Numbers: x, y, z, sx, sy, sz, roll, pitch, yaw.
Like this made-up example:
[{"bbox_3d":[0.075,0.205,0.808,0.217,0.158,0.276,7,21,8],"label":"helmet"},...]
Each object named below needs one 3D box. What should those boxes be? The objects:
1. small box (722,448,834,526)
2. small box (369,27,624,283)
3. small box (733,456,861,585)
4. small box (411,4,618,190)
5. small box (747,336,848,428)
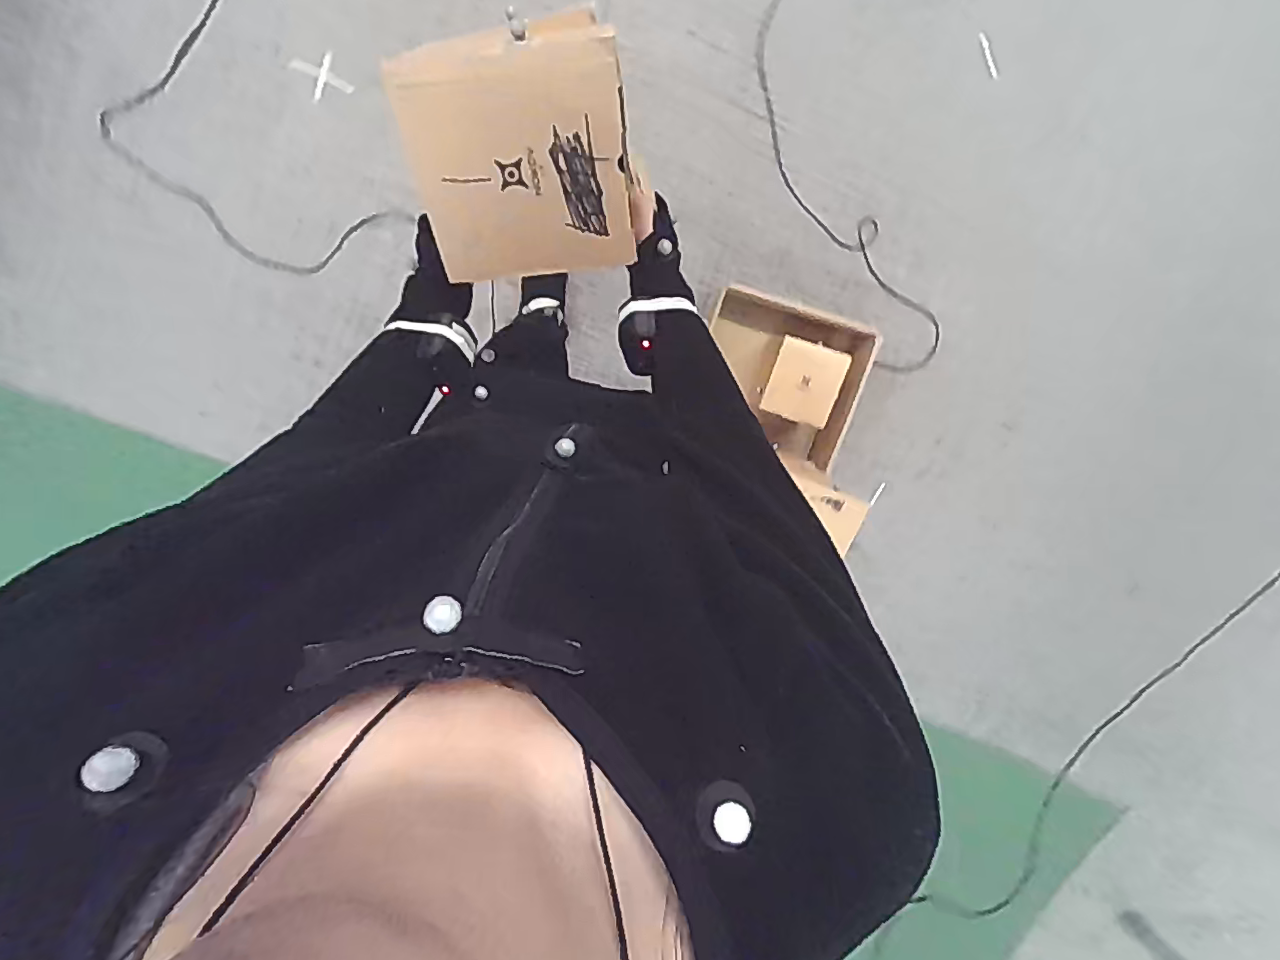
[{"bbox_3d":[0.307,0.037,1.239,0.179,0.176,0.168,19,103,-6],"label":"small box"},{"bbox_3d":[-0.114,-0.305,0.506,0.179,0.176,0.168,-6,133,1],"label":"small box"},{"bbox_3d":[0.299,0.073,1.078,0.168,0.176,0.179,22,103,-8],"label":"small box"},{"bbox_3d":[-0.130,-0.421,0.621,0.179,0.176,0.168,-11,132,5],"label":"small box"},{"bbox_3d":[0.377,-0.247,1.334,0.168,0.176,0.179,17,106,-5],"label":"small box"}]
